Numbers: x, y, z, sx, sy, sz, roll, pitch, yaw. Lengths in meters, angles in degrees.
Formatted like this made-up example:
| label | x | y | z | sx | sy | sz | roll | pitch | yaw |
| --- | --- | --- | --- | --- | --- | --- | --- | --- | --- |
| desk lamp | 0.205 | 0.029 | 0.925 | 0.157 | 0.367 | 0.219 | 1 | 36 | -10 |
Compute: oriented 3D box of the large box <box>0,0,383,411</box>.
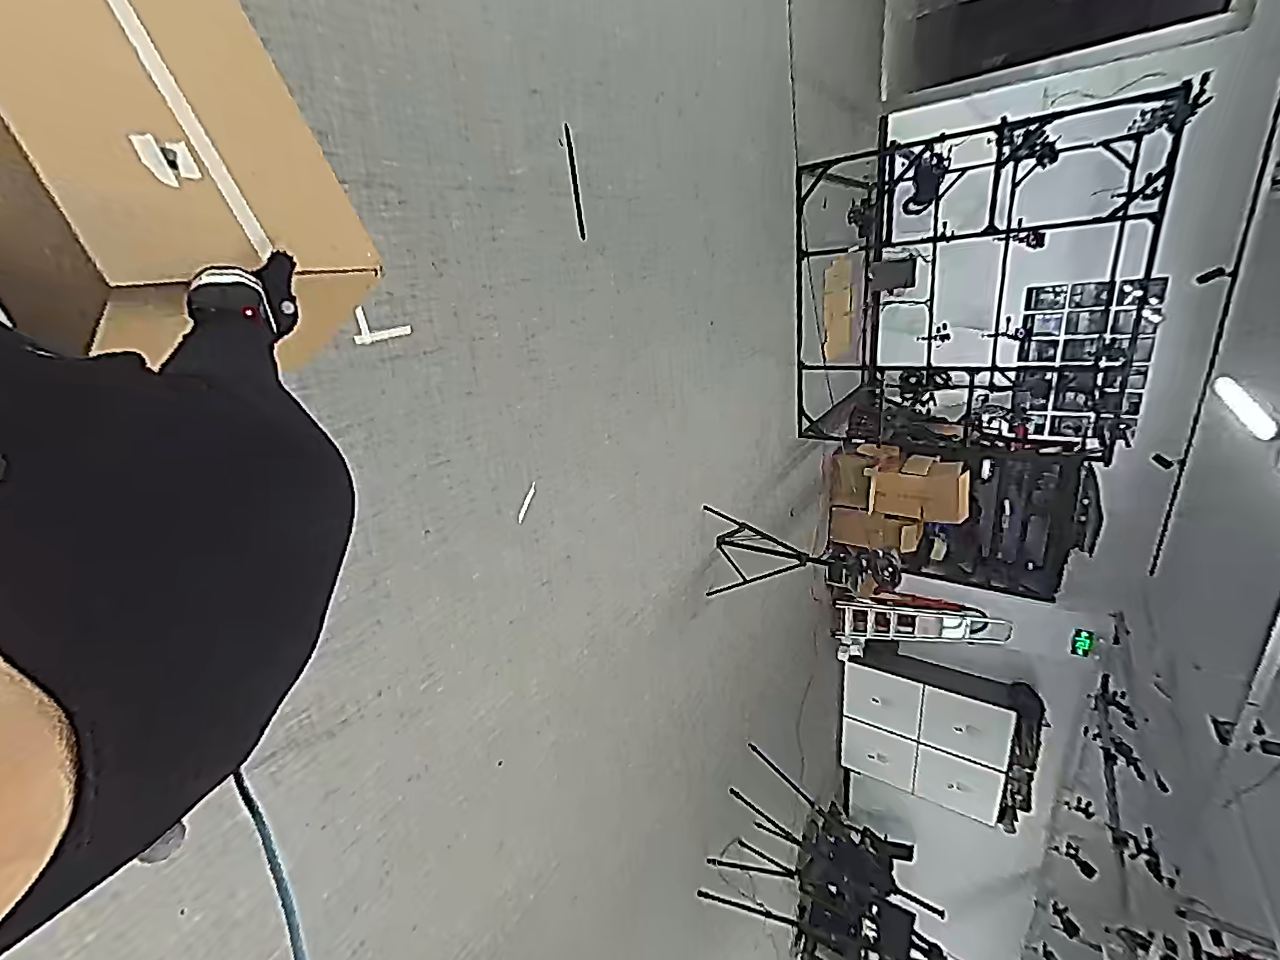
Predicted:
| label | x | y | z | sx | sy | sz | roll | pitch | yaw |
| --- | --- | --- | --- | --- | --- | --- | --- | --- | --- |
| large box | -0.648 | -0.361 | 0.723 | 0.320 | 0.320 | 0.408 | -37 | 102 | -53 |
